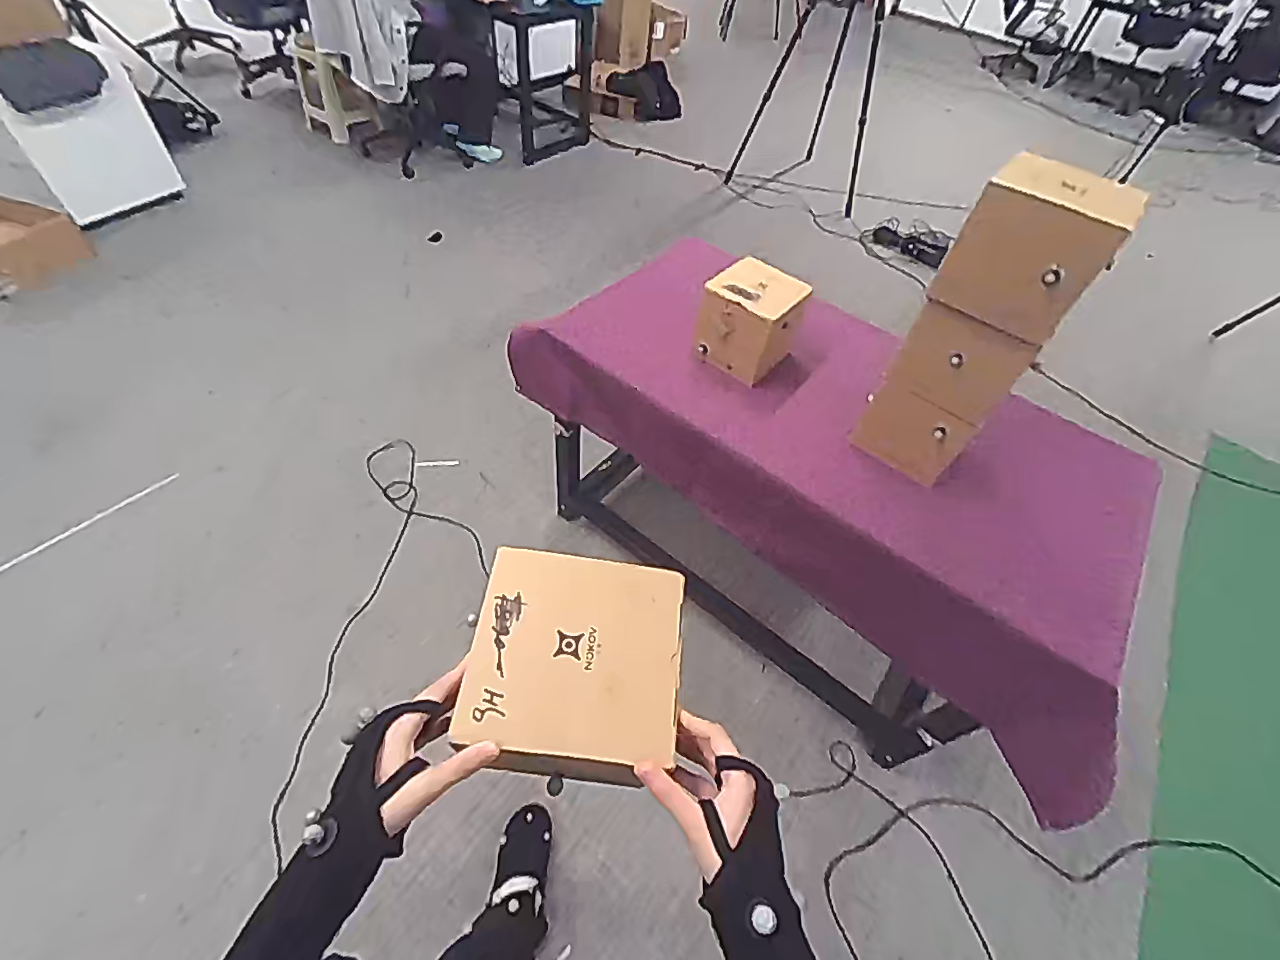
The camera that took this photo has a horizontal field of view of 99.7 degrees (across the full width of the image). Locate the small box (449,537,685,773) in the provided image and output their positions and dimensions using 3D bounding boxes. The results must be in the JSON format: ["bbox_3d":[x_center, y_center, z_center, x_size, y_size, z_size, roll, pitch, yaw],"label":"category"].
[{"bbox_3d":[-0.064,0.177,0.522,0.179,0.176,0.168,10,55,-4],"label":"small box"}]

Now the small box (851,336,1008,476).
[{"bbox_3d":[0.538,-0.132,1.020,0.179,0.176,0.168,36,56,20],"label":"small box"}]

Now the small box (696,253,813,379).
[{"bbox_3d":[0.234,-0.345,1.152,0.168,0.176,0.179,35,56,19],"label":"small box"}]

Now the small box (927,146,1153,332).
[{"bbox_3d":[0.551,-0.333,0.762,0.179,0.176,0.168,36,56,20],"label":"small box"}]
